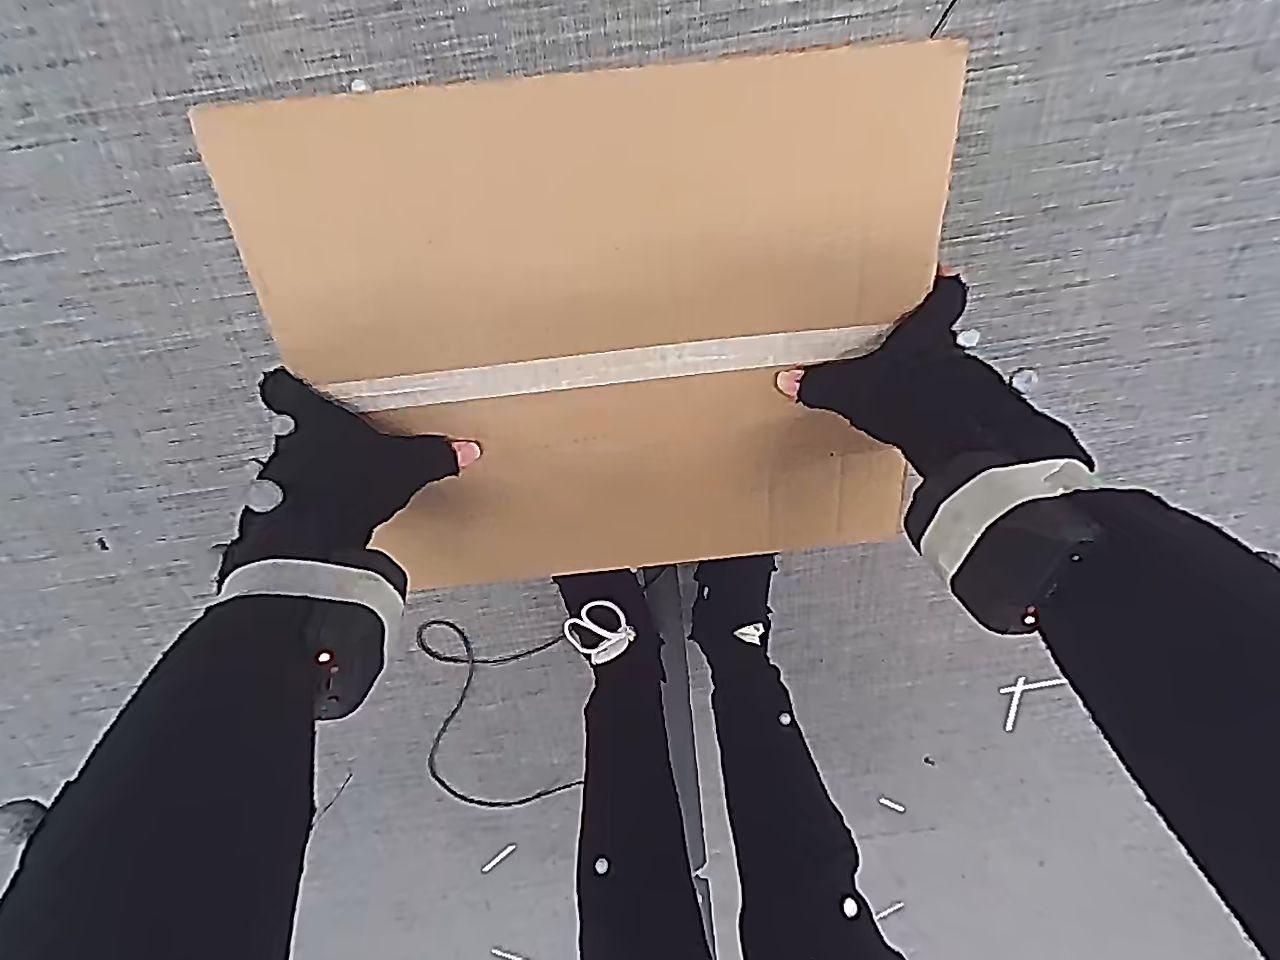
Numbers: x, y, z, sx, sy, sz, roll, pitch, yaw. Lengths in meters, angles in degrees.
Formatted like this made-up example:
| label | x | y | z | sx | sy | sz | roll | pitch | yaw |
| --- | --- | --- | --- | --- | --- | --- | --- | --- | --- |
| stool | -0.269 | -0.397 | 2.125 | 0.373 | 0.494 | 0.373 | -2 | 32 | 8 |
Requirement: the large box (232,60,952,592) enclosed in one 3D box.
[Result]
| label | x | y | z | sx | sy | sz | roll | pitch | yaw |
| --- | --- | --- | --- | --- | --- | --- | --- | --- | --- |
| large box | -0.022 | -0.134 | 0.490 | 0.408 | 0.320 | 0.320 | -6 | 117 | -1 |
